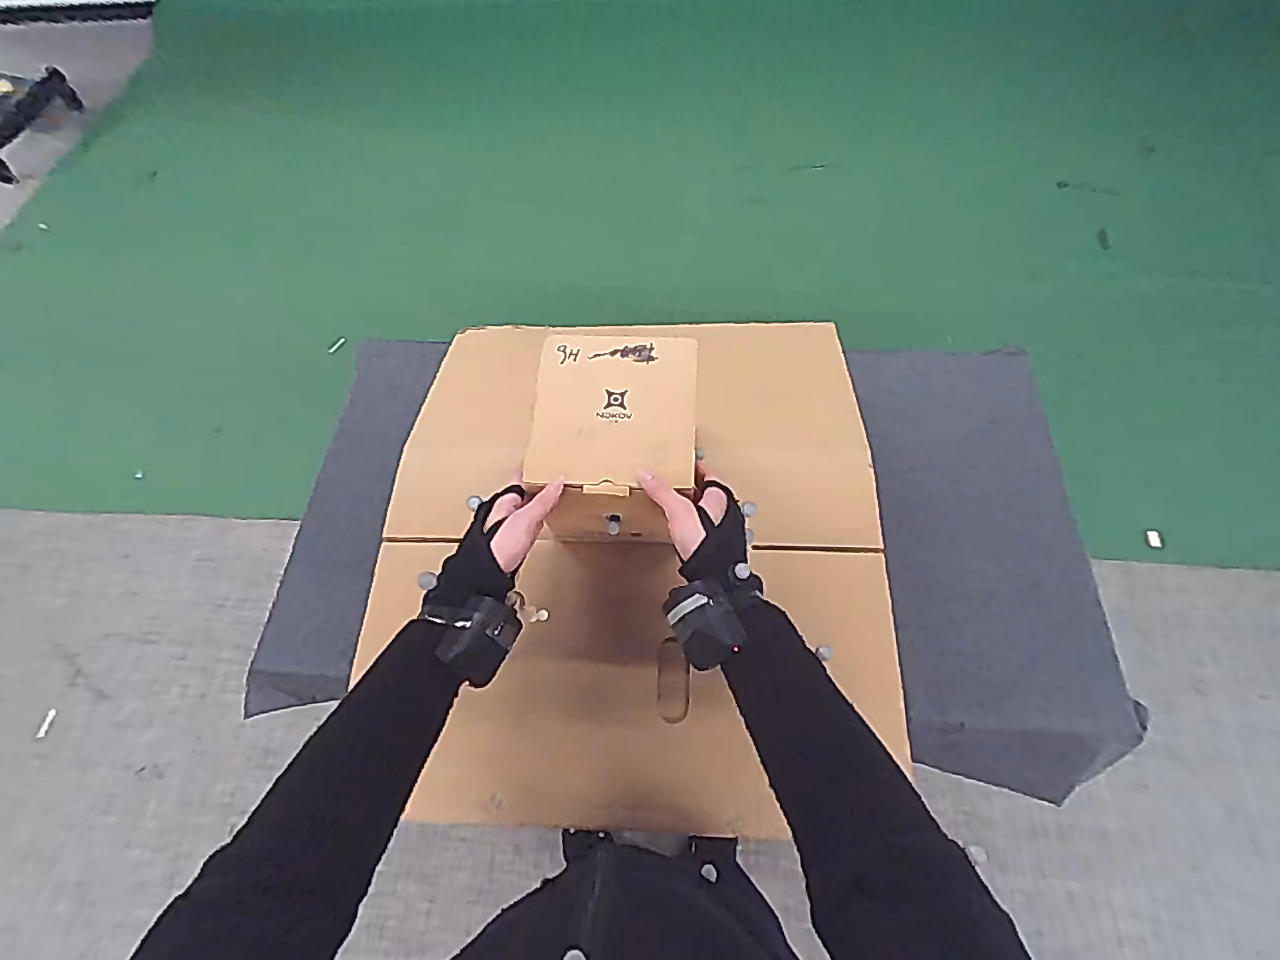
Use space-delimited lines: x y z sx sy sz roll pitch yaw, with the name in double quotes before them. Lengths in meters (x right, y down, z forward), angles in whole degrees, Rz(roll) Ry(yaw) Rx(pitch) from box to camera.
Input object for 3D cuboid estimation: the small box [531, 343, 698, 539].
"small box" -0.017 -0.035 0.624 0.168 0.176 0.179 0 67 3
